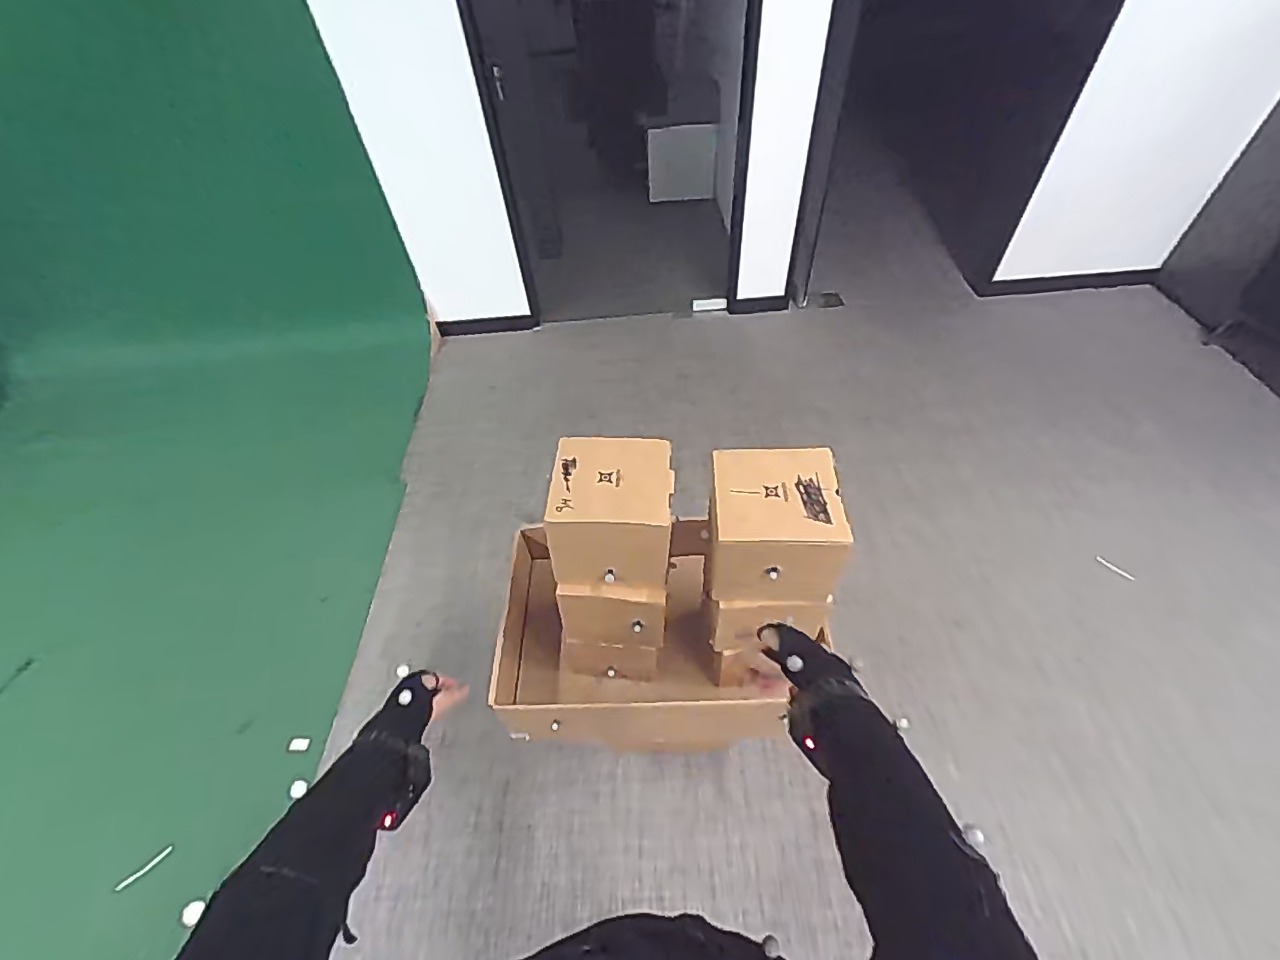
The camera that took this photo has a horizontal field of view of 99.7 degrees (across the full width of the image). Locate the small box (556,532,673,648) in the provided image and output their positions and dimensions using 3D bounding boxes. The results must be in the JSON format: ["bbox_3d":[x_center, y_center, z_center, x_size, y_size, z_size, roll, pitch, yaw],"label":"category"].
[{"bbox_3d":[-0.039,0.181,0.951,0.179,0.176,0.168,5,48,4],"label":"small box"}]

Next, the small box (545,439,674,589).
[{"bbox_3d":[-0.042,0.057,0.843,0.179,0.176,0.168,3,48,0],"label":"small box"}]

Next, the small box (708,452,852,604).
[{"bbox_3d":[0.195,0.075,0.809,0.179,0.176,0.168,-1,50,5],"label":"small box"}]
